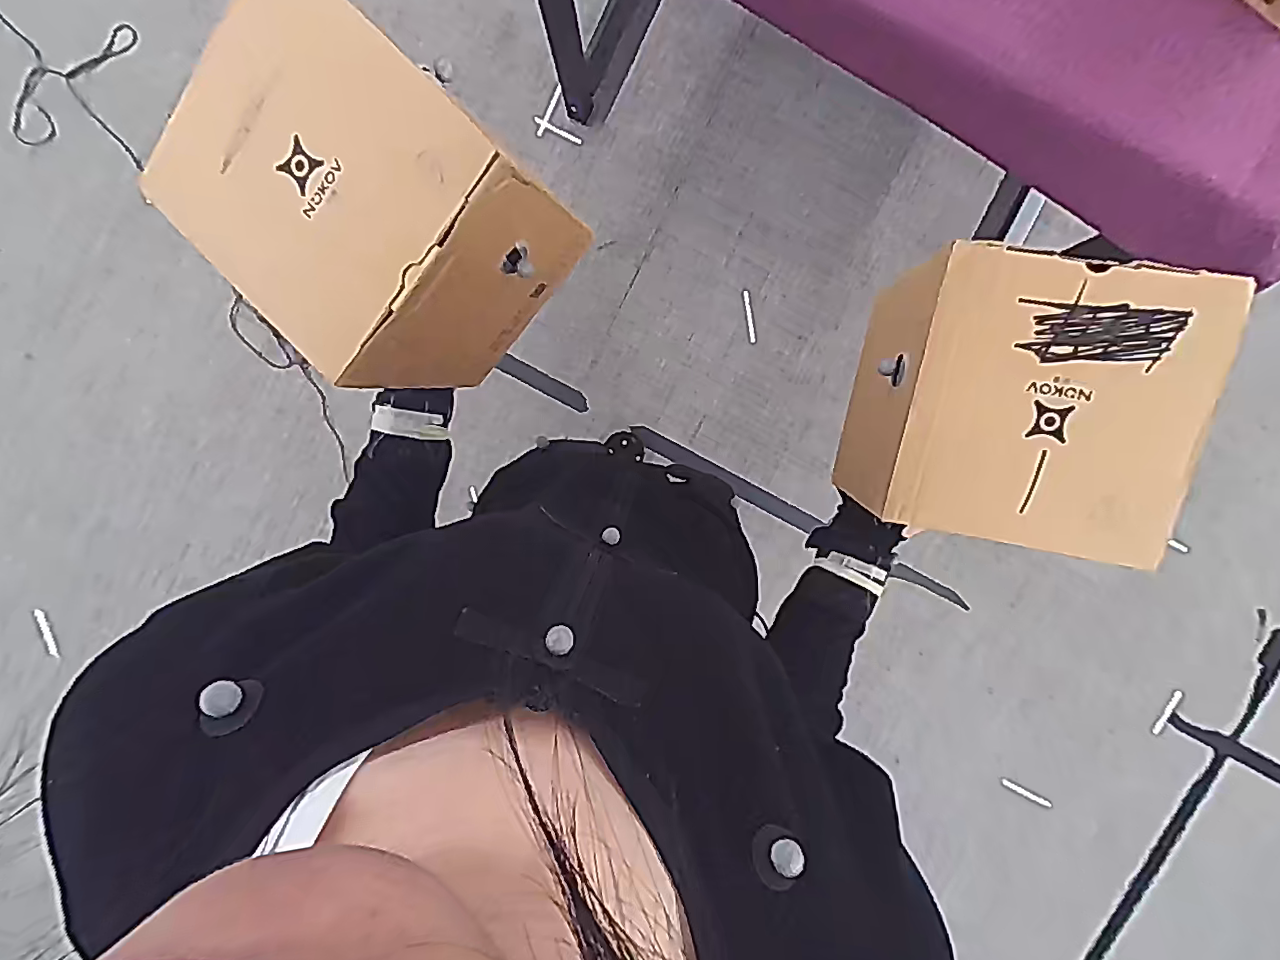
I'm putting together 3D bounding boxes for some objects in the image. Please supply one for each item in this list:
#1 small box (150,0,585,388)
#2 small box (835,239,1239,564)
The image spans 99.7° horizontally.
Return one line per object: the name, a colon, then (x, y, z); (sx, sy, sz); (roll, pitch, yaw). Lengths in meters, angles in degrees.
small box: (-0.166, -0.184, 0.381); (0.179, 0.176, 0.168); (44, 105, 3)
small box: (0.261, -0.058, 0.410); (0.168, 0.176, 0.179); (11, 100, 7)
